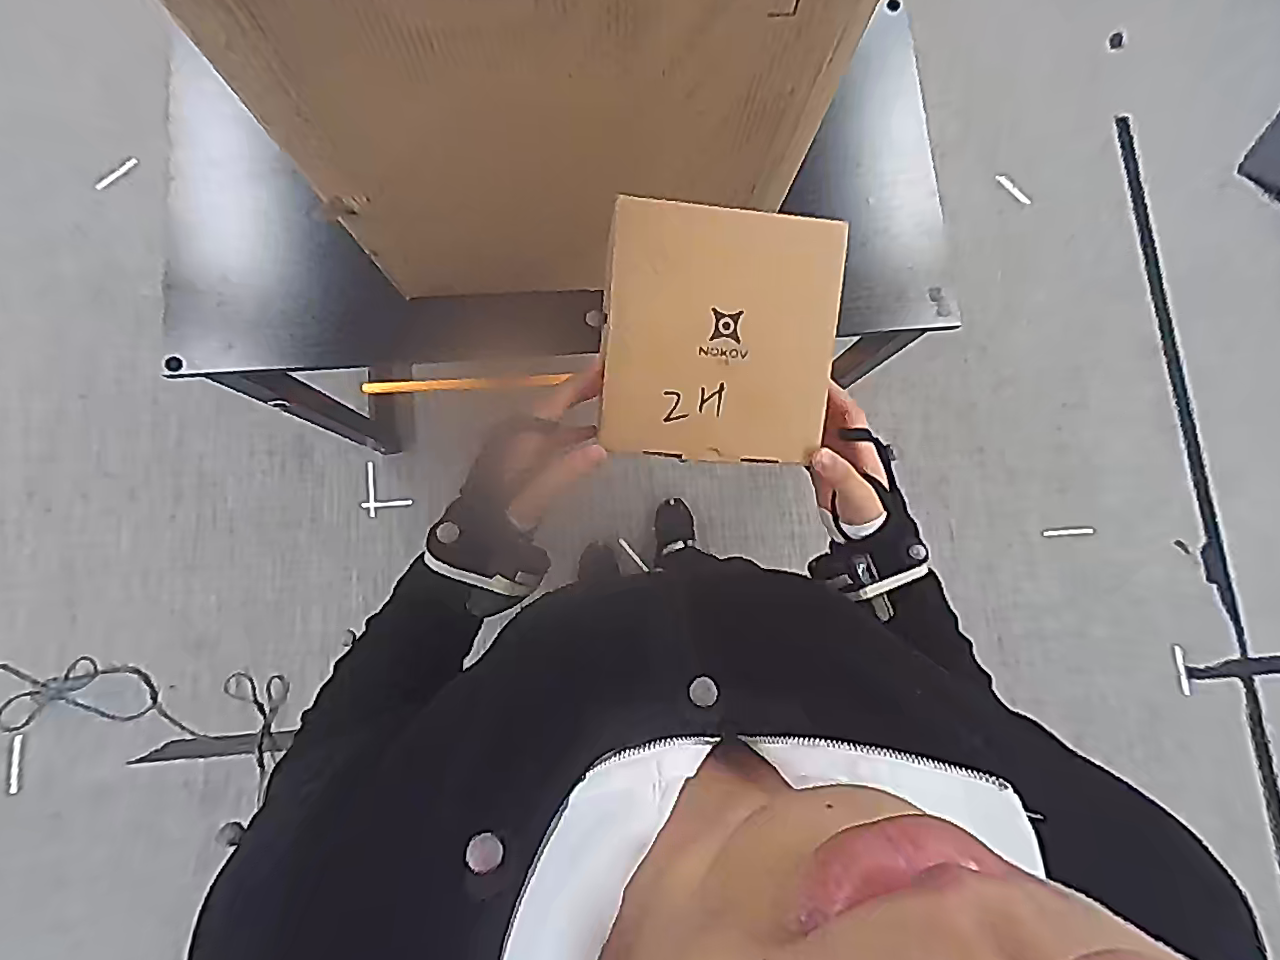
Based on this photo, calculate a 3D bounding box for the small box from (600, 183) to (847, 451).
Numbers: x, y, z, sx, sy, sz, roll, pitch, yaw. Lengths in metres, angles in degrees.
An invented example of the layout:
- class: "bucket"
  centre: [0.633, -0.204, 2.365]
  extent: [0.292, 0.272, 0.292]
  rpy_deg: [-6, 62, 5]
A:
- class: "small box"
  centre: [0.054, -0.124, 0.466]
  extent: [0.168, 0.176, 0.179]
  rpy_deg: [3, 99, -5]
